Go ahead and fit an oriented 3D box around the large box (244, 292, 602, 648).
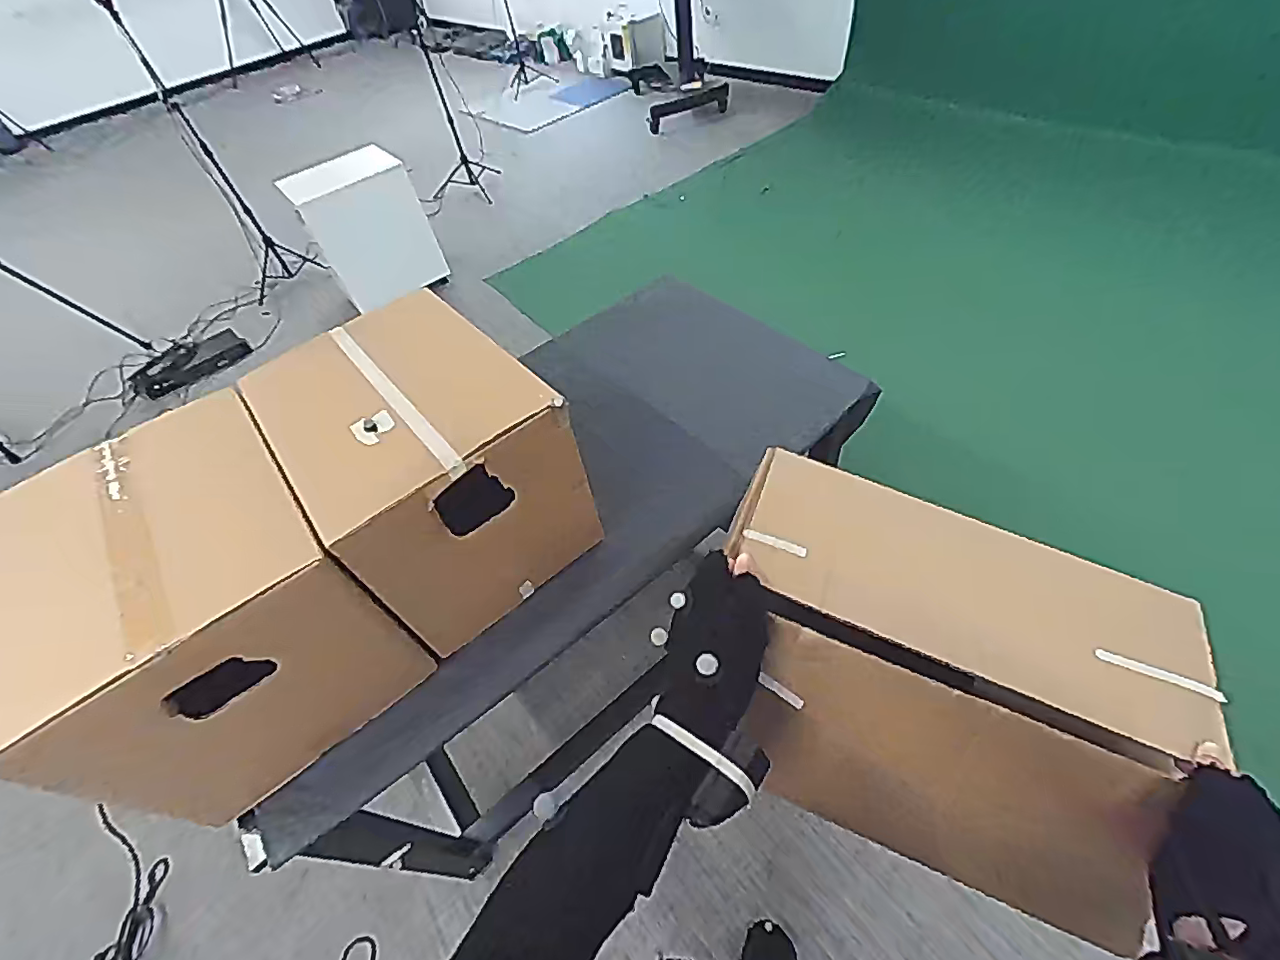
[{"bbox_3d":[-0.316,-0.027,0.845,0.320,0.320,0.408,-37,56,-19],"label":"large box"}]
